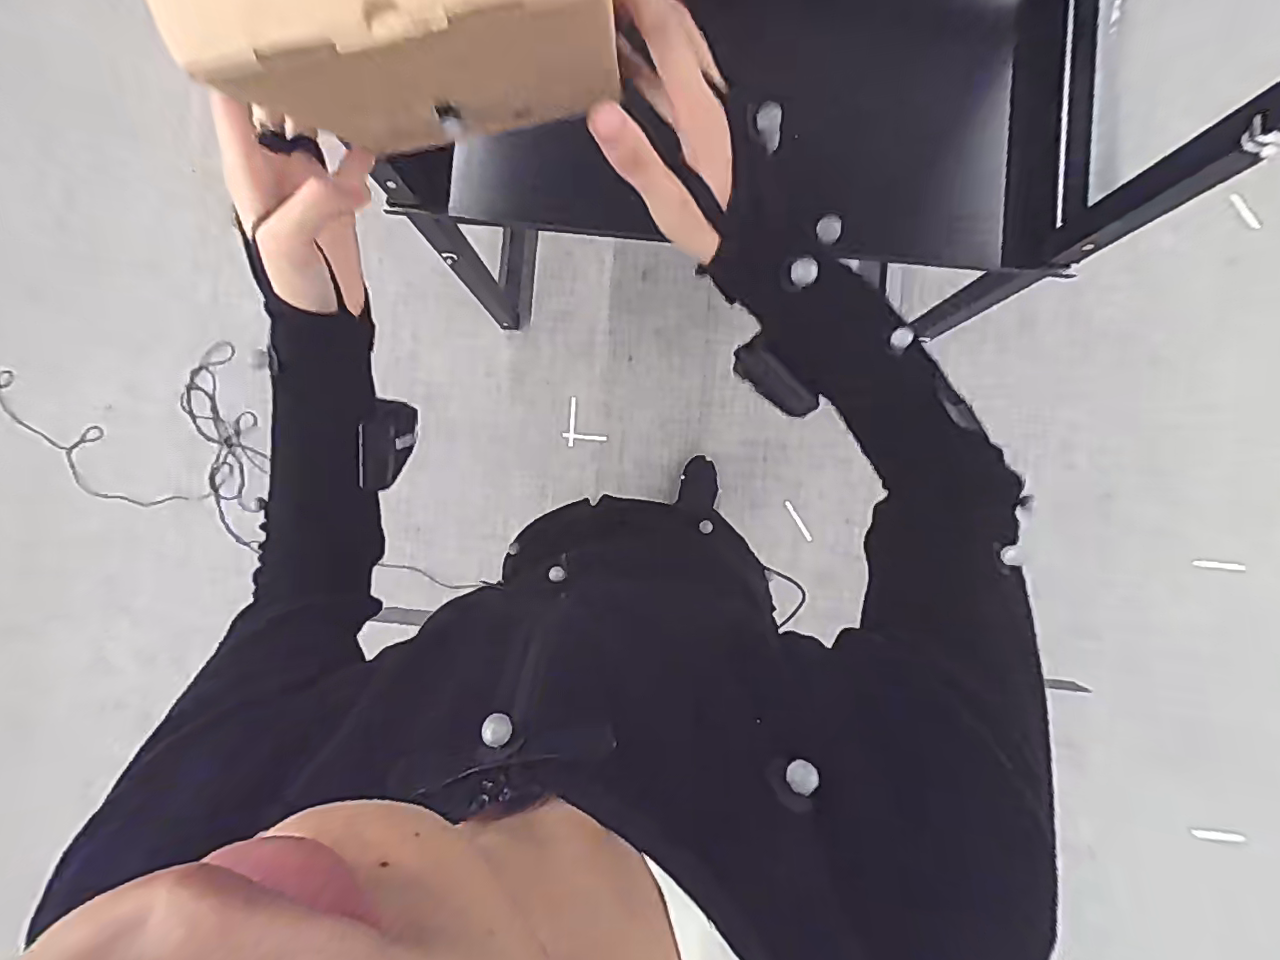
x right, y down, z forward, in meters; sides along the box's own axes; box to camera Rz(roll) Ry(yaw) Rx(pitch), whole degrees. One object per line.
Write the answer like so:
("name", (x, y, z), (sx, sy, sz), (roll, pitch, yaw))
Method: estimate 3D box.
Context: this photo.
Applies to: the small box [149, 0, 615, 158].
("small box", (-0.107, -0.270, 0.244), (0.168, 0.176, 0.179), (-9, 113, 3))
